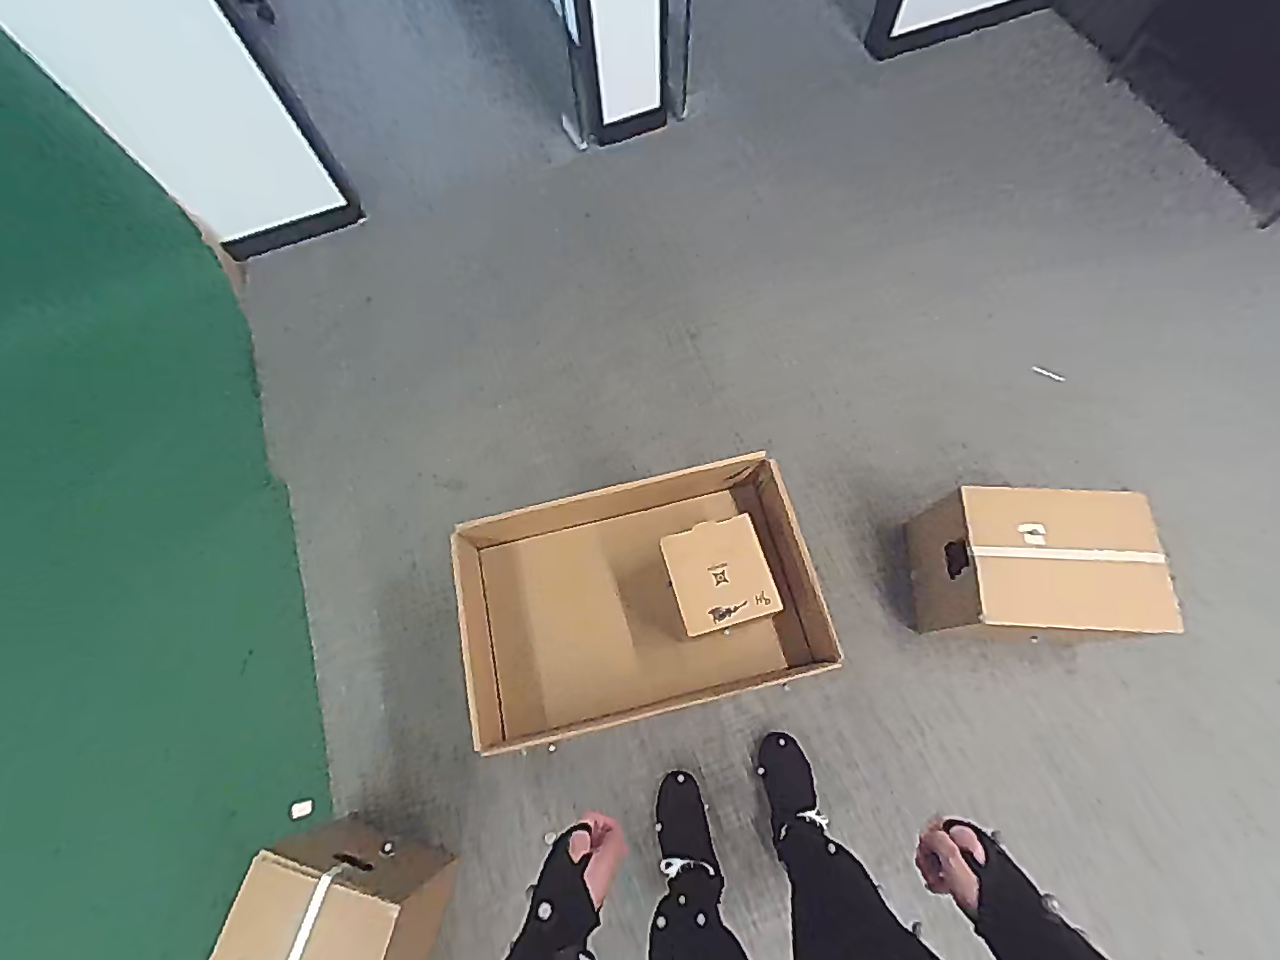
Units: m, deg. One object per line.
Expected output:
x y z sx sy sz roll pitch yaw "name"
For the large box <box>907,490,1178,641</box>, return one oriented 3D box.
0.927 0.220 1.312 0.408 0.320 0.320 2 69 4 "large box"
